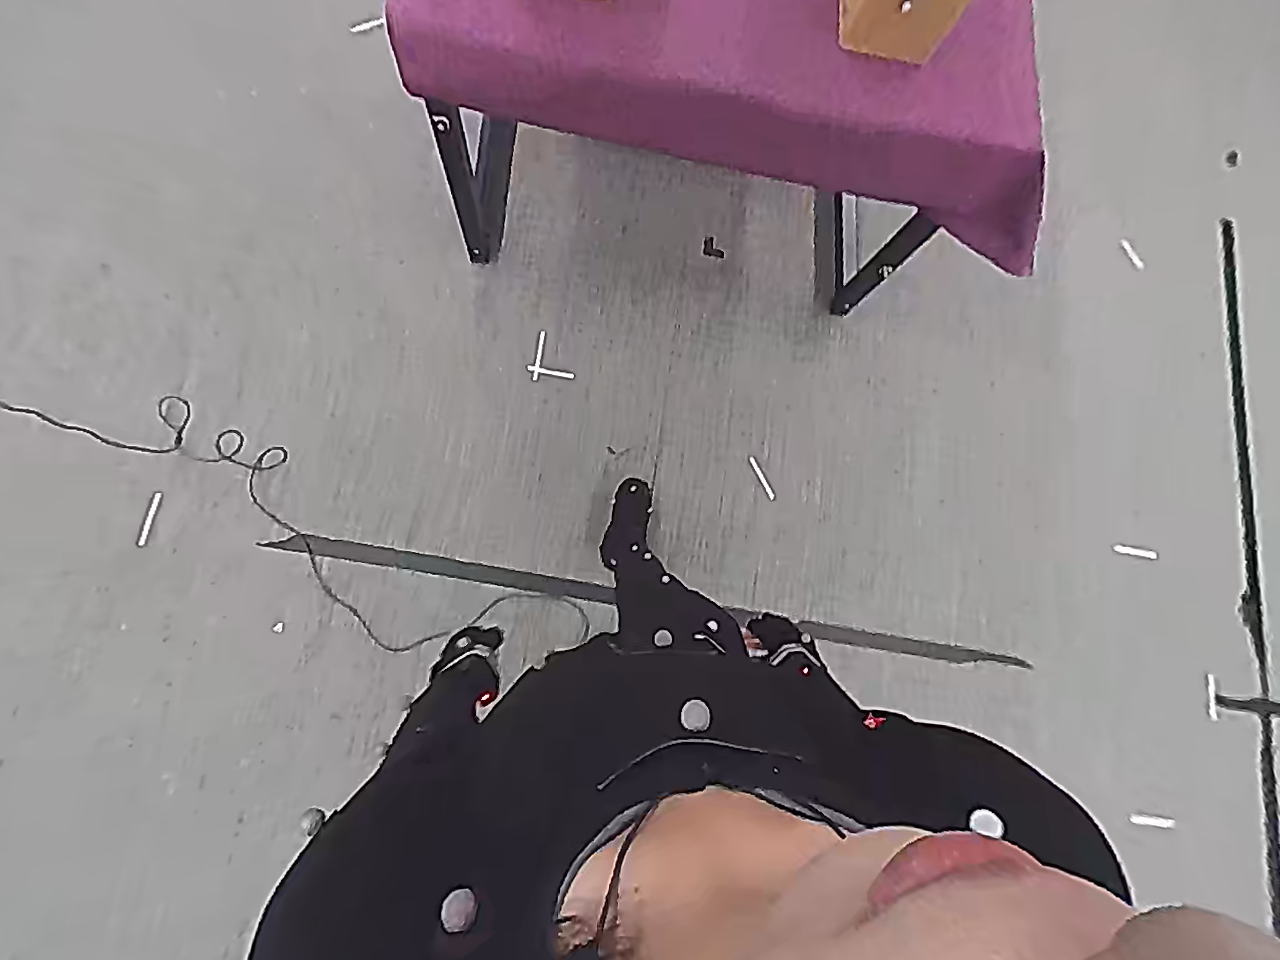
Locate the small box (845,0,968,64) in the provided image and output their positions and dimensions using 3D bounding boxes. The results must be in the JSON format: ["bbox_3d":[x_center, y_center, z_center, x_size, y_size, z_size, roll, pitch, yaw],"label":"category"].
[{"bbox_3d":[0.481,-0.888,0.958,0.179,0.176,0.168,5,79,-6],"label":"small box"}]
